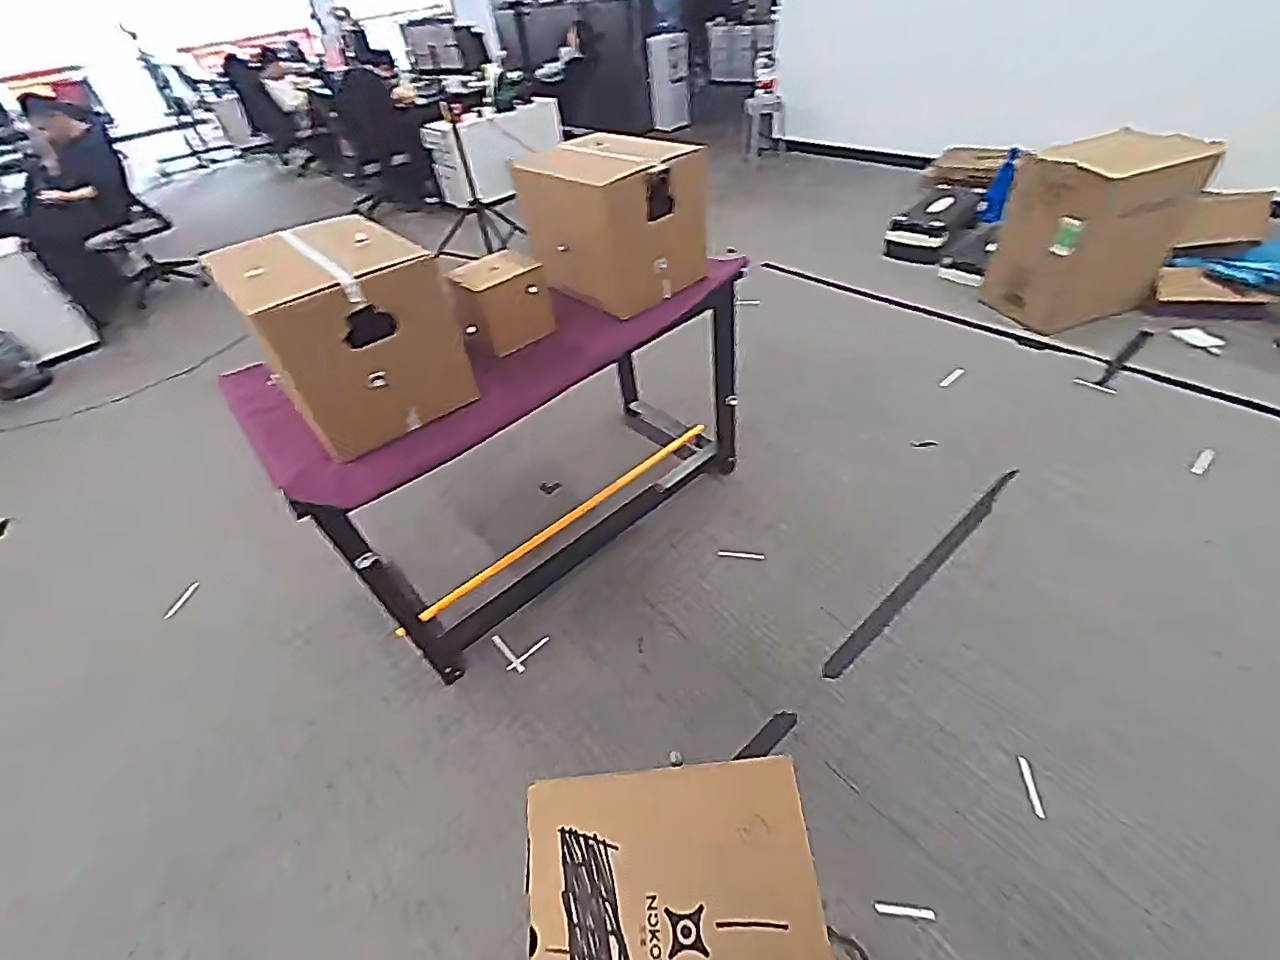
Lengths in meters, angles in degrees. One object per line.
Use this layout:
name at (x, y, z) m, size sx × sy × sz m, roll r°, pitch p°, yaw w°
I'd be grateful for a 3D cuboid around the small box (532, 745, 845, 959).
small box at (0.034, 0.289, 0.375) m, size 0.179 × 0.176 × 0.168 m, roll -7°, pitch 59°, yaw 4°

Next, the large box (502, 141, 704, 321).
large box at (-0.086, -0.659, 1.411) m, size 0.320 × 0.320 × 0.408 m, roll -35°, pitch 48°, yaw -26°
